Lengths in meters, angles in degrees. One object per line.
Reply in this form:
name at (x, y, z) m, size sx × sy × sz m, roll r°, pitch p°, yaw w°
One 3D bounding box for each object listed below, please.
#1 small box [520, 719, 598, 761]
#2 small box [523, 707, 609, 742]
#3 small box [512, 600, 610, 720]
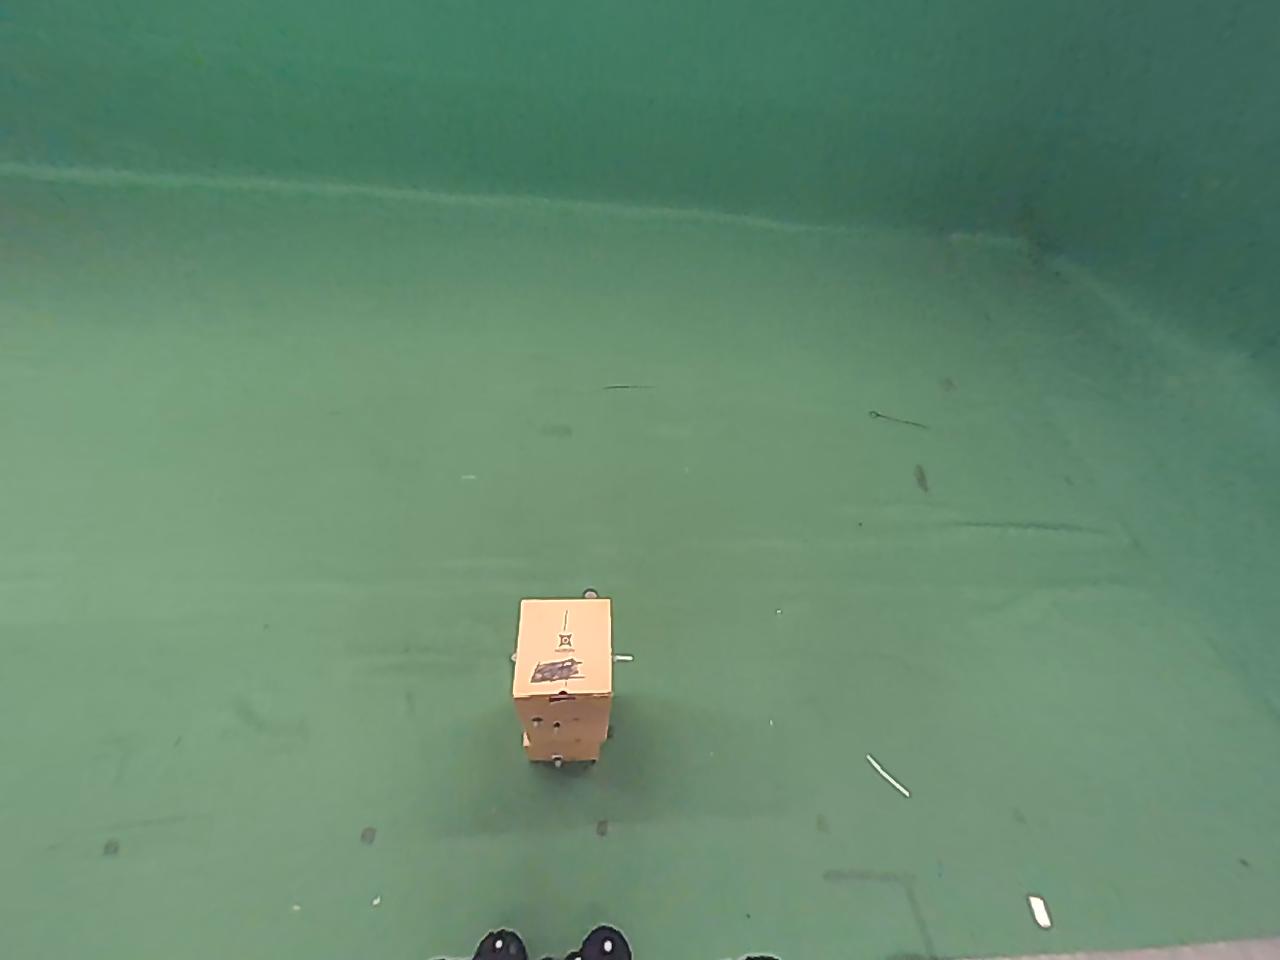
small box at (-0.175, 0.533, 1.247) m, size 0.168 × 0.176 × 0.179 m, roll 2°, pitch 52°, yaw -3°
small box at (-0.152, 0.440, 1.138) m, size 0.168 × 0.176 × 0.179 m, roll 1°, pitch 51°, yaw -5°
small box at (-0.139, 0.339, 1.008) m, size 0.168 × 0.176 × 0.179 m, roll 1°, pitch 51°, yaw -6°
